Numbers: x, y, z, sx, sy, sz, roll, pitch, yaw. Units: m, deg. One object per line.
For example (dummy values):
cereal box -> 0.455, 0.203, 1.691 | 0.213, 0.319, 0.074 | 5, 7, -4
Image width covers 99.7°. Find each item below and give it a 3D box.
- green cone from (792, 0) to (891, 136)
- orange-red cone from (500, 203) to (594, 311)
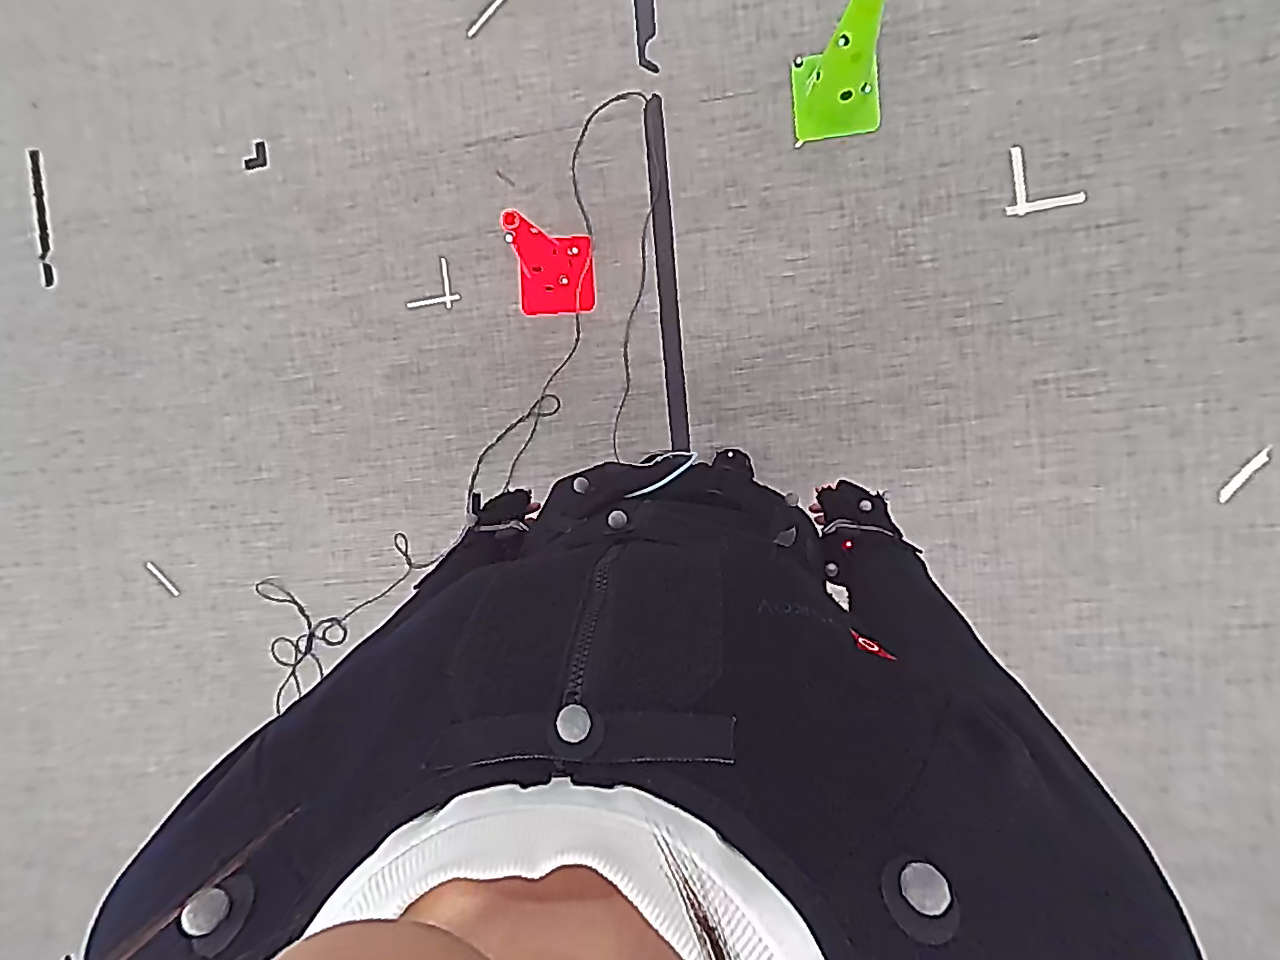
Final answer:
green cone -> 0.459, -0.938, 1.144 | 0.202, 0.368, 0.200 | -5, 93, 6
orange-red cone -> -0.242, -0.541, 1.256 | 0.199, 0.360, 0.198 | 0, 92, 8
